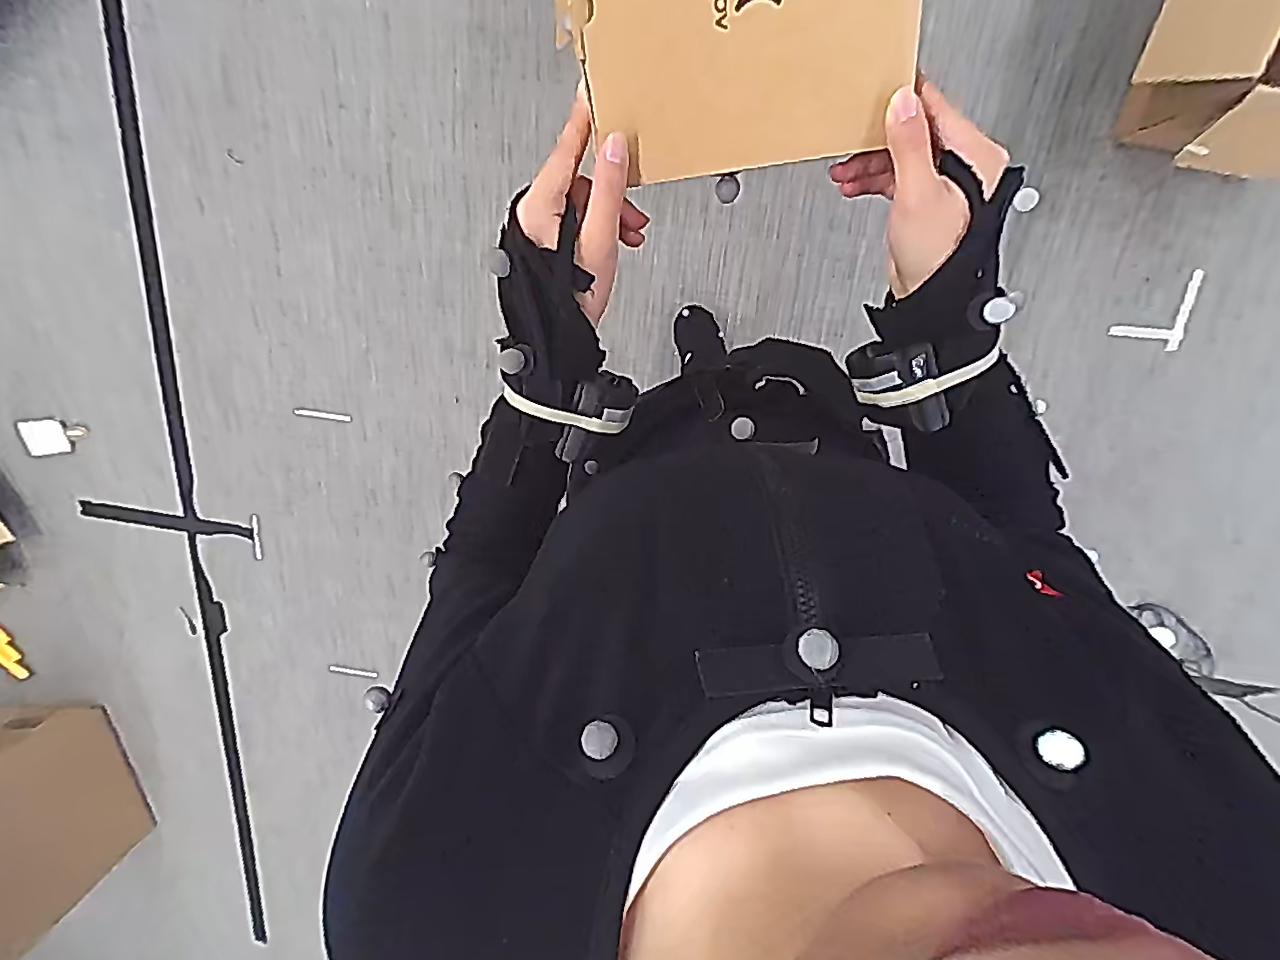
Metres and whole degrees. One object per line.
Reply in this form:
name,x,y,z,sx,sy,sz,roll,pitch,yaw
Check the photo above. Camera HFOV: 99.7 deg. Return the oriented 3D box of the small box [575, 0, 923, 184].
small box,0.051,-0.289,0.332,0.179,0.176,0.168,-7,120,3
